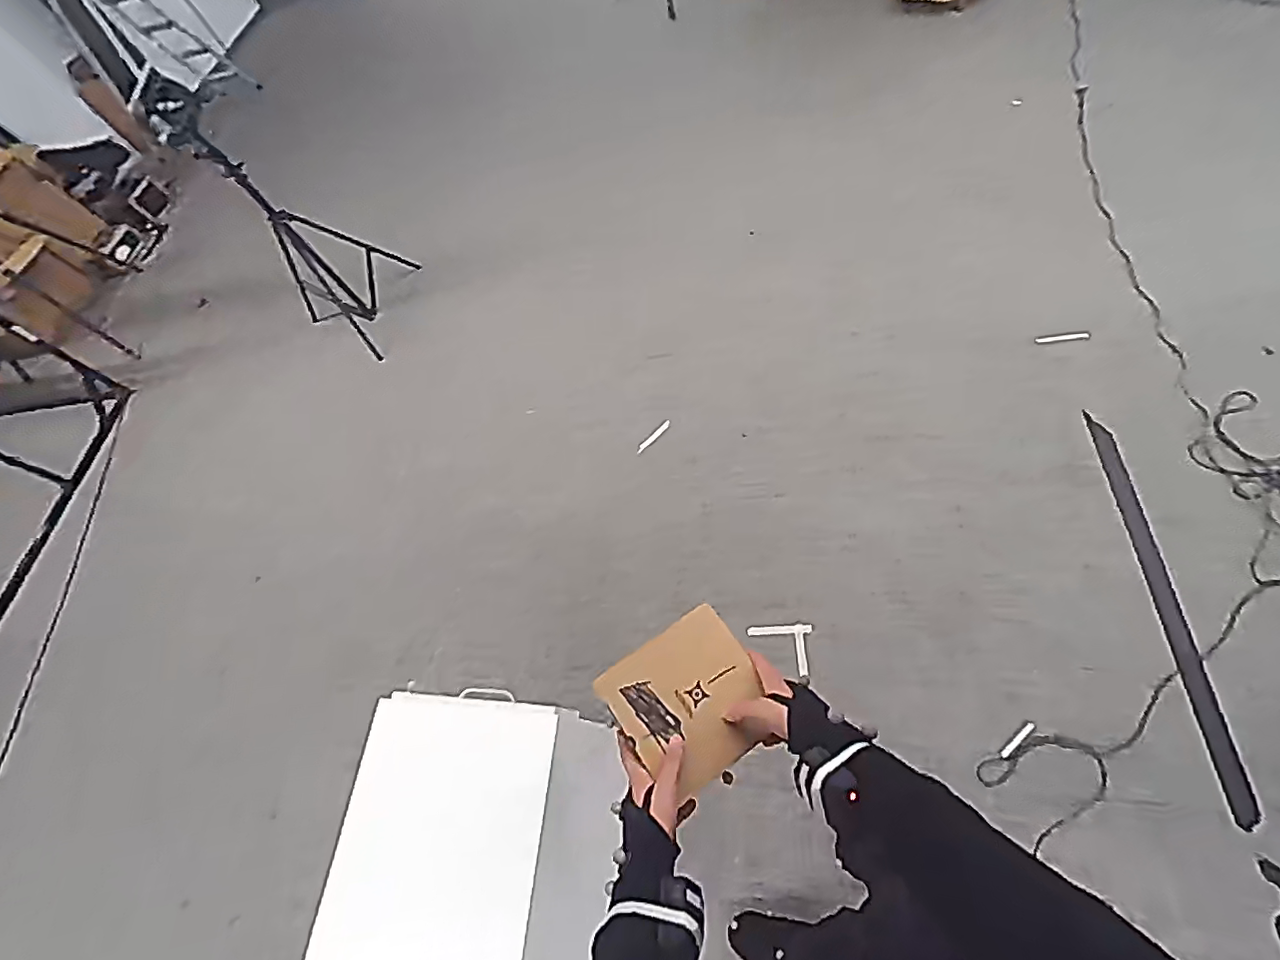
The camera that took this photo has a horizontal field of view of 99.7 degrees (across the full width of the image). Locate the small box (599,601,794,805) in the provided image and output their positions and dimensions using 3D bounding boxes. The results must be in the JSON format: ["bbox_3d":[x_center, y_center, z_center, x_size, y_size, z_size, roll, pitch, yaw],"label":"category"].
[{"bbox_3d":[0.069,0.293,0.703,0.179,0.176,0.168,-31,63,-16],"label":"small box"}]
